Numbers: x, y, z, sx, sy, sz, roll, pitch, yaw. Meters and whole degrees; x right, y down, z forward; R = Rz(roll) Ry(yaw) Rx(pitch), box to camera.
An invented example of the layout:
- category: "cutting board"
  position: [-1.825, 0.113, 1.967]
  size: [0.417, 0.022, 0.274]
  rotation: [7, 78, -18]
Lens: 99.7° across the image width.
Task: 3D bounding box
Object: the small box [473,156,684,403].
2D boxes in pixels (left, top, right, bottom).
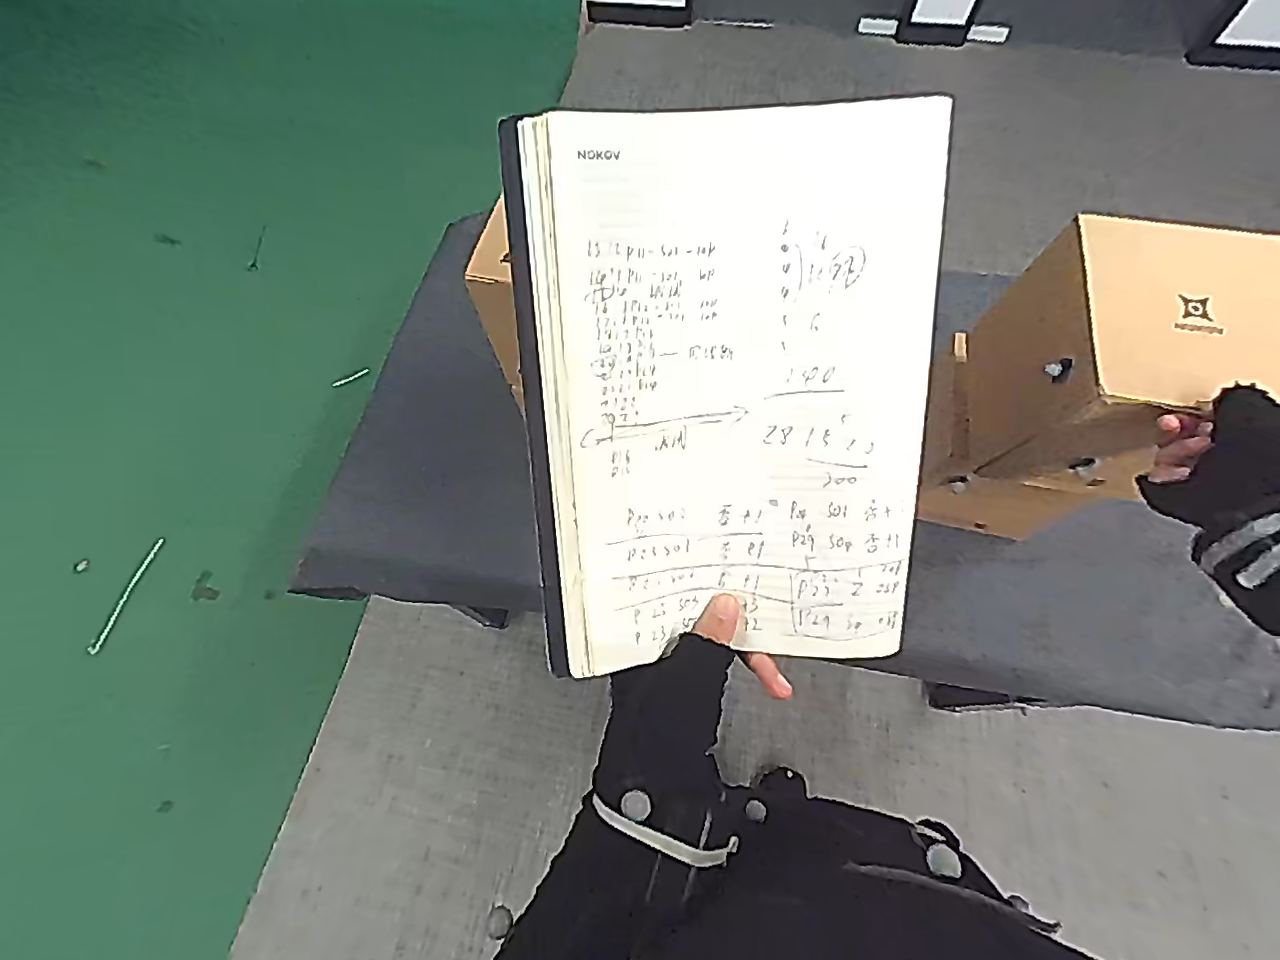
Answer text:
- category: "small box"
  position: [-0.051, -0.206, 0.581]
  size: [0.168, 0.176, 0.179]
  rotation: [12, 65, 6]

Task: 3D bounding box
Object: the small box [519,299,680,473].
- category: "small box"
  position: [-0.045, -0.133, 0.728]
  size: [0.168, 0.176, 0.179]
  rotation: [10, 66, 7]

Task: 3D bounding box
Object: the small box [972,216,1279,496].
- category: "small box"
  position: [0.431, -0.101, 0.491]
  size: [0.168, 0.176, 0.179]
  rotation: [7, 71, 3]
